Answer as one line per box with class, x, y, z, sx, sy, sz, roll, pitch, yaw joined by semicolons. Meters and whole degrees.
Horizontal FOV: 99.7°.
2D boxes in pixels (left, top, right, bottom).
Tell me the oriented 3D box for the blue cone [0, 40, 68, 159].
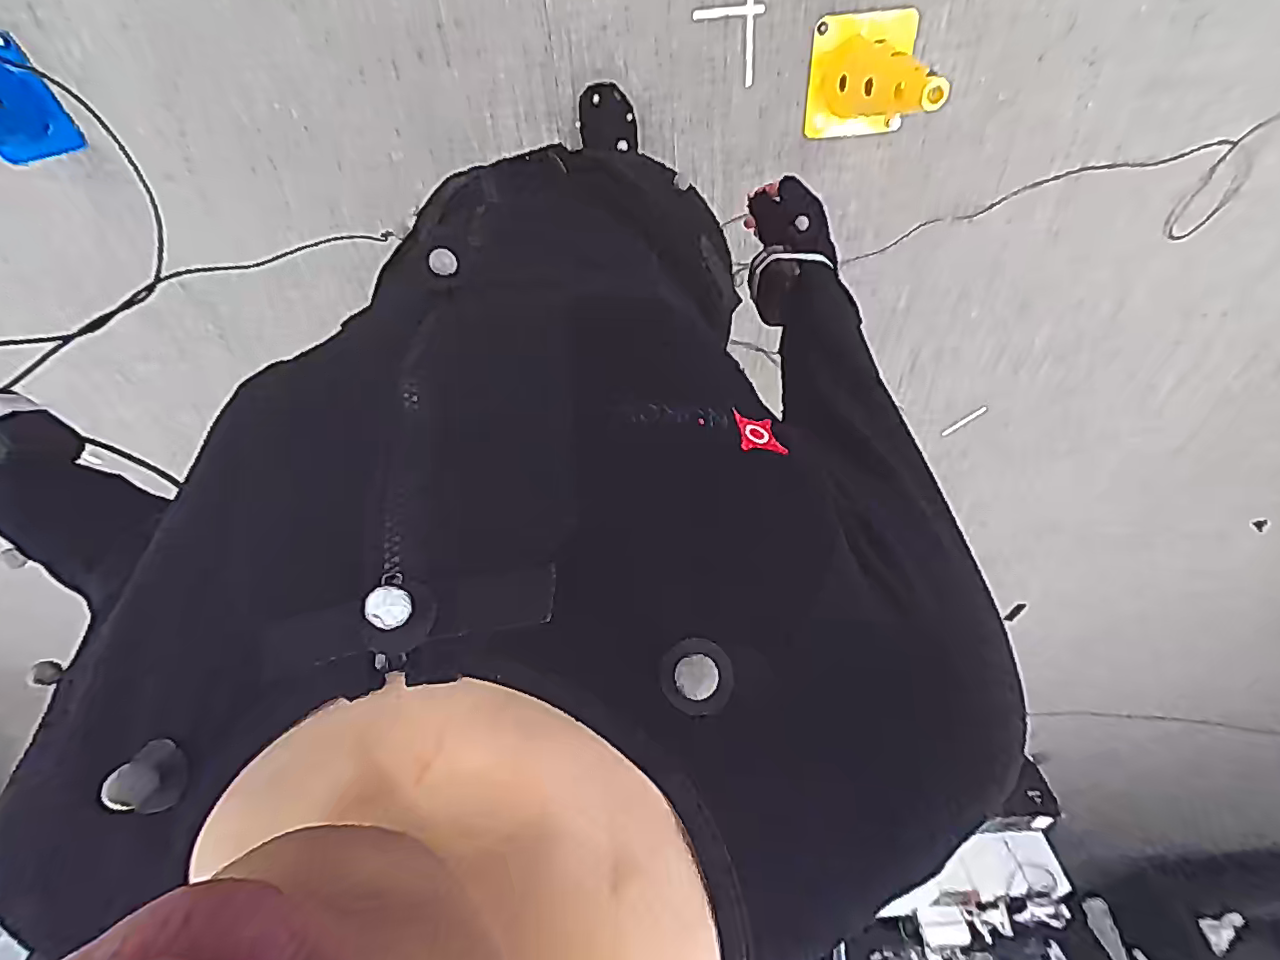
blue cone;-1.278;-0.653;0.953;0.193;0.380;0.192;-8;130;5
